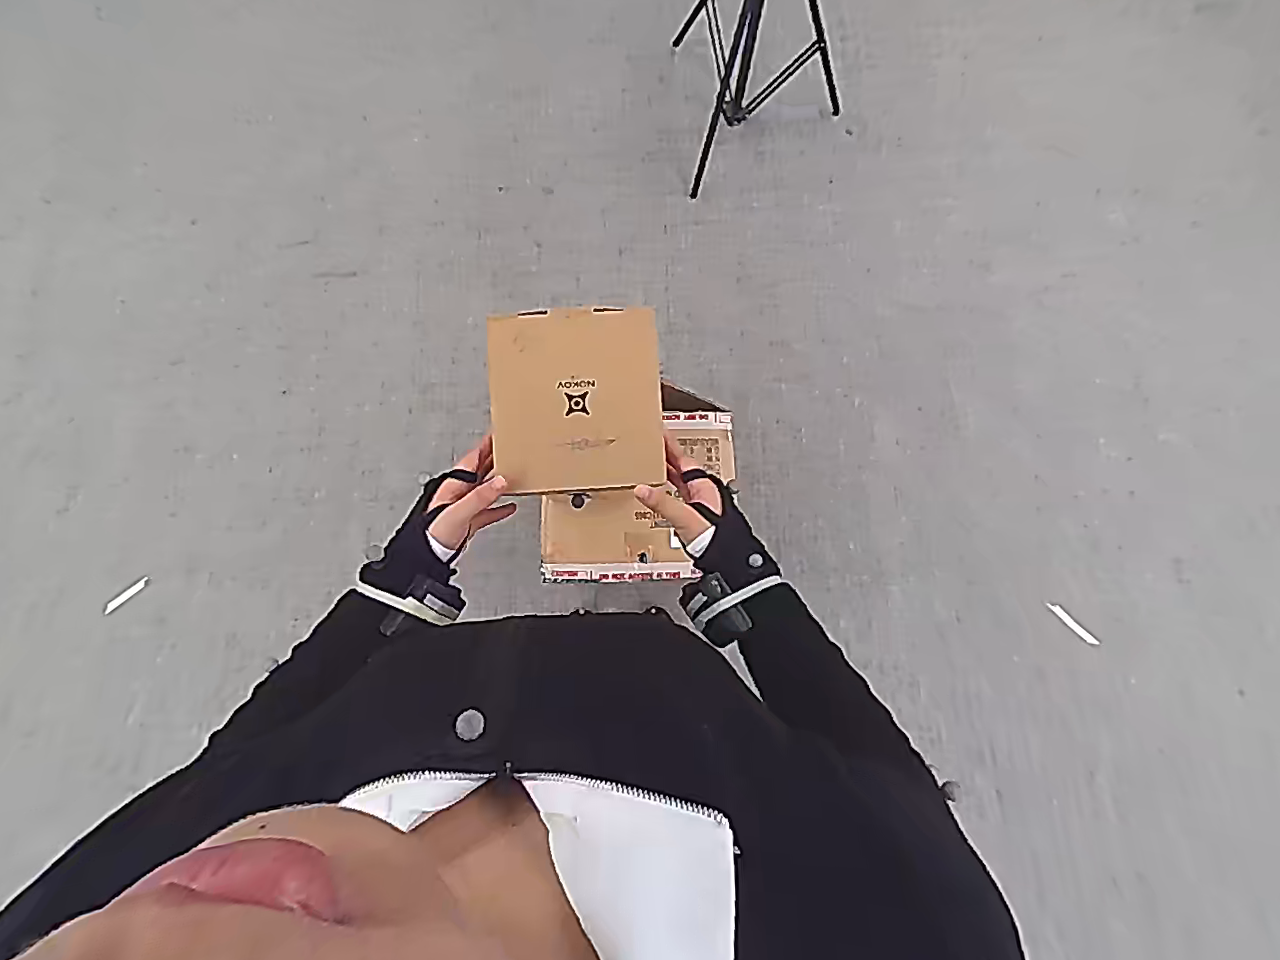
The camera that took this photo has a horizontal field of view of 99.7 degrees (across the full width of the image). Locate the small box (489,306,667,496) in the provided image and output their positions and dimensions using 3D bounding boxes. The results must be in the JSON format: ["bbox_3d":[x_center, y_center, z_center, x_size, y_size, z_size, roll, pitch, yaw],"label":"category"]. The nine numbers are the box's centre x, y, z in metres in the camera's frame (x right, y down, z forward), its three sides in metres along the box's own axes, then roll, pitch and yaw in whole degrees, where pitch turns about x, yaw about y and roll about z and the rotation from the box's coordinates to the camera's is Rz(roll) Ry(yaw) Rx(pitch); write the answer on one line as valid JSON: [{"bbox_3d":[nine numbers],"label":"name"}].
[{"bbox_3d":[-0.065,-0.075,0.596,0.168,0.176,0.179,-4,88,-3],"label":"small box"}]
